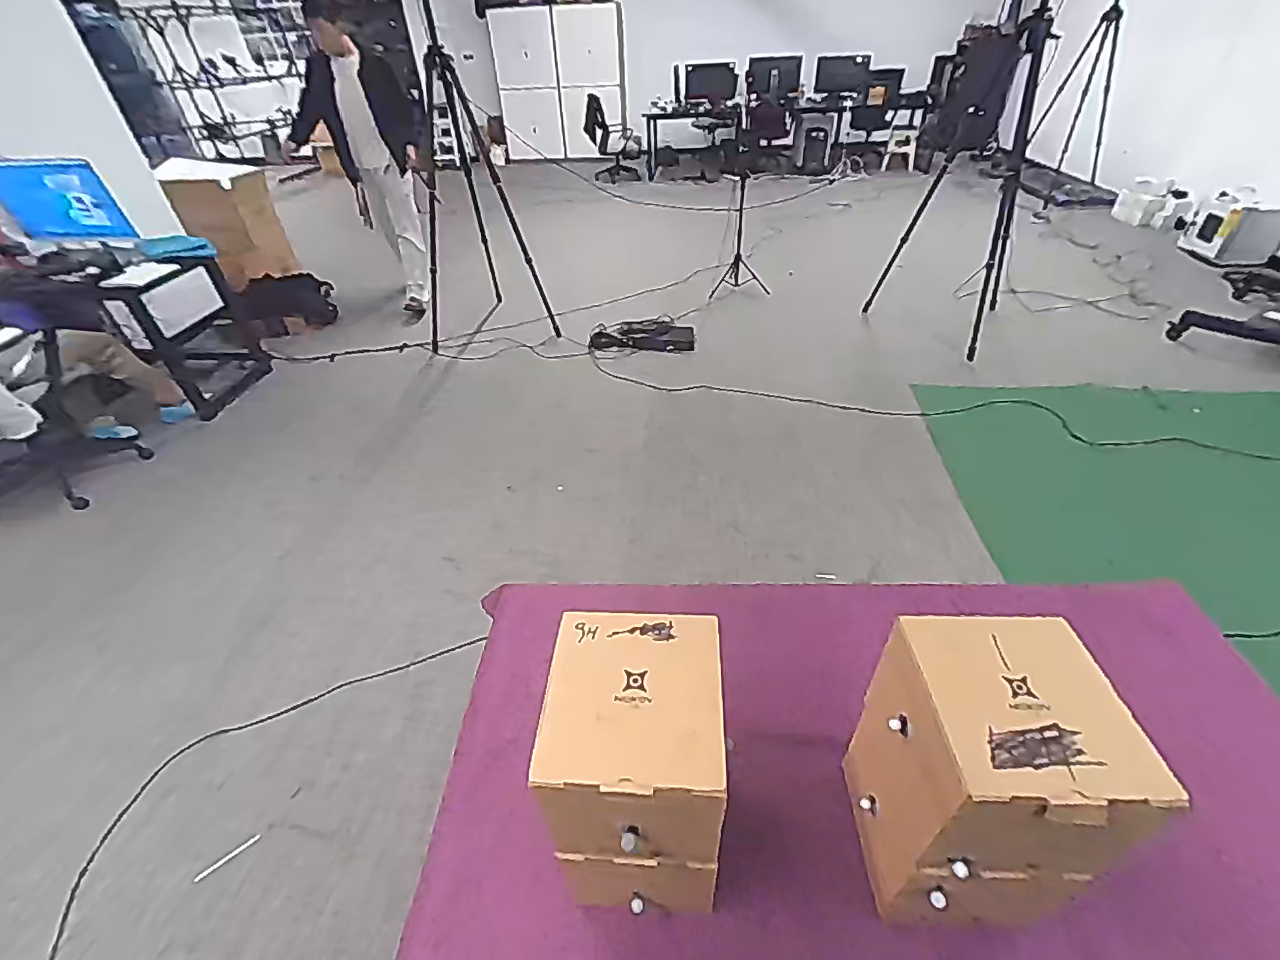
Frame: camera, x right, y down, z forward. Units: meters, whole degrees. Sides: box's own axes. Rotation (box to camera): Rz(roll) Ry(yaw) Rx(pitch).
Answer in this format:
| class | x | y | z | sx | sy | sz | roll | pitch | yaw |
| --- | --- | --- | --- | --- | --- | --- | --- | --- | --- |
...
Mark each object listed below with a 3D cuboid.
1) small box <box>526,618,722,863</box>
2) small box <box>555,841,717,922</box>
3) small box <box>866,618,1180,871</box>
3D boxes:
| class | x | y | z | sx | sy | sz | roll | pitch | yaw |
| --- | --- | --- | --- | --- | --- | --- | --- | --- | --- |
| small box | -0.004 | 0.263 | 0.551 | 0.168 | 0.176 | 0.179 | 1 | 39 | 4 |
| small box | 0.003 | 0.395 | 0.650 | 0.168 | 0.176 | 0.179 | 0 | 39 | 5 |
| small box | 0.342 | 0.258 | 0.532 | 0.168 | 0.176 | 0.179 | -1 | 37 | 3 |
